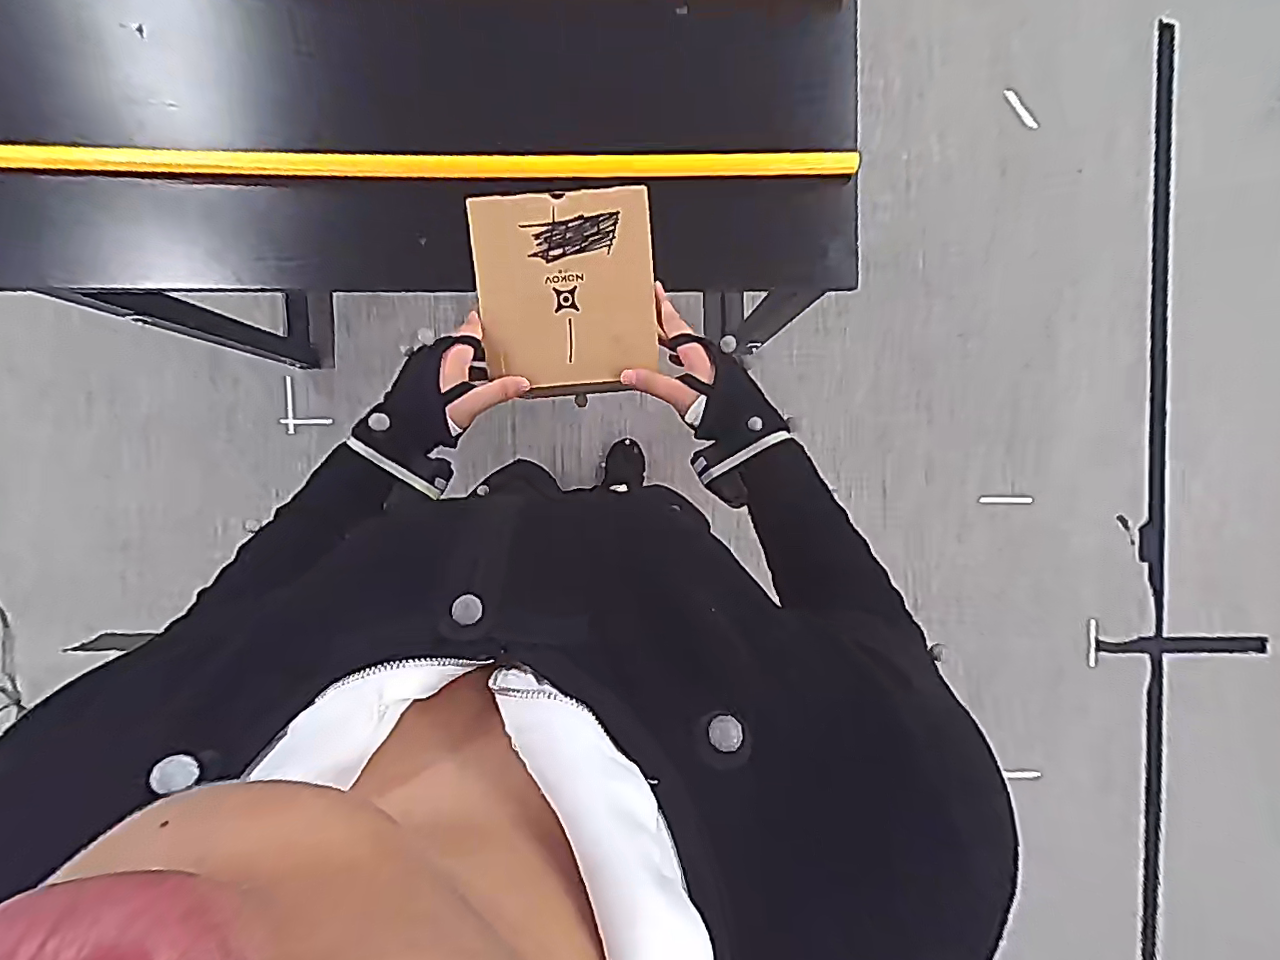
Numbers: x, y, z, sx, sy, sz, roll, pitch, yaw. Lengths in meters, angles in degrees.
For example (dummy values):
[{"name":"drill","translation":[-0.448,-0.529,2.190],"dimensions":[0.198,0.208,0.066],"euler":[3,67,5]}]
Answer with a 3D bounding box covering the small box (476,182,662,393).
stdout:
[{"name":"small box","translation":[-0.067,-0.192,0.584],"dimensions":[0.168,0.176,0.179],"euler":[-4,96,0]}]
